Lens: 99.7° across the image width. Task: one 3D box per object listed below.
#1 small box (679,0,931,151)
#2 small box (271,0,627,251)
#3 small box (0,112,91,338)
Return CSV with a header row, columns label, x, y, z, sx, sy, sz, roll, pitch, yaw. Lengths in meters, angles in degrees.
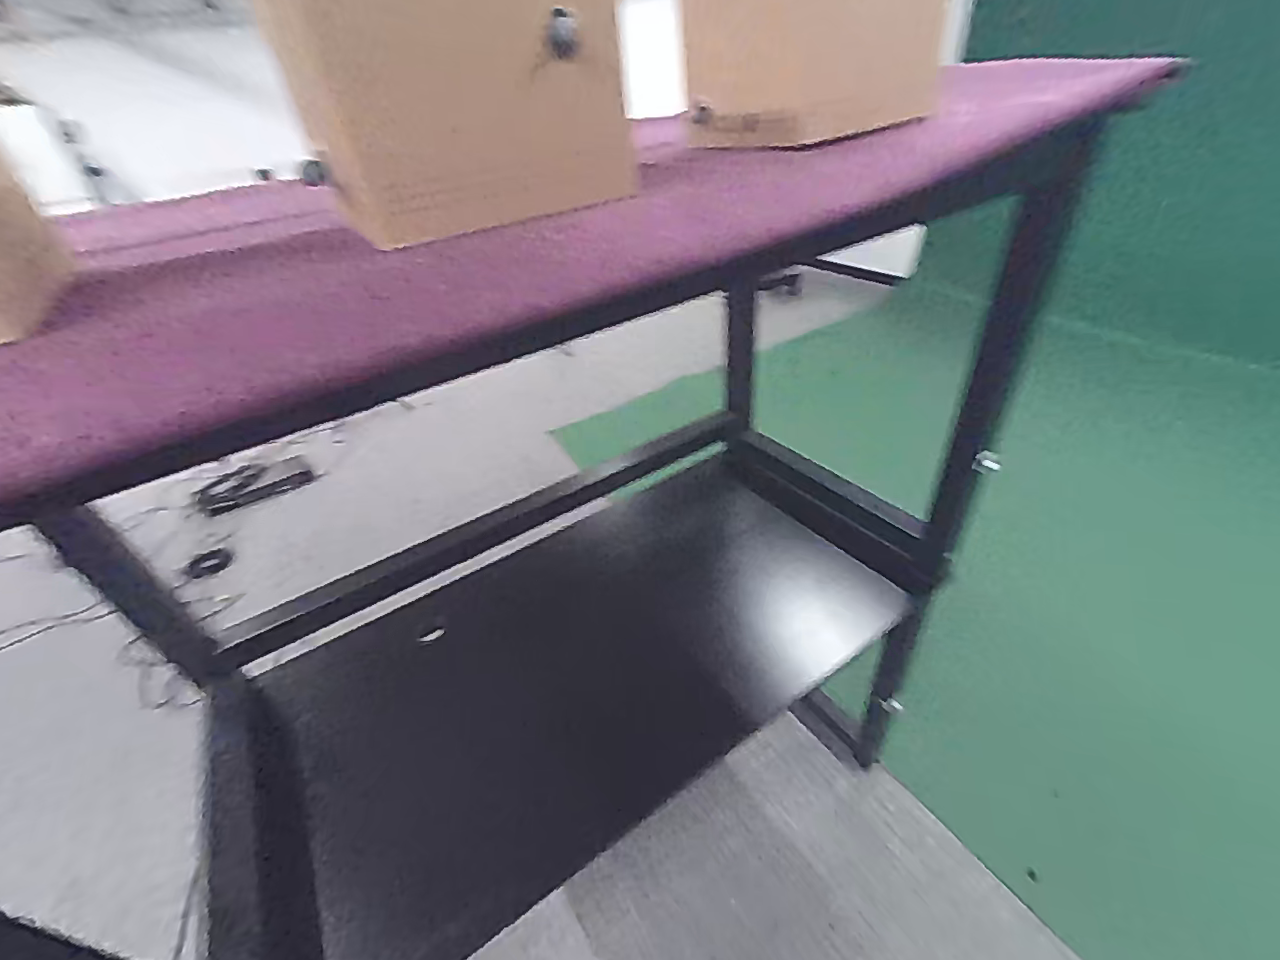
label,x,y,z,sx,sy,sz,roll,pitch,yaw
small box,0.154,-0.418,0.510,0.179,0.176,0.168,-24,38,-22
small box,-0.121,-0.267,0.356,0.179,0.176,0.168,-27,41,-24
small box,-0.382,-0.140,0.219,0.168,0.176,0.179,-25,41,-25
